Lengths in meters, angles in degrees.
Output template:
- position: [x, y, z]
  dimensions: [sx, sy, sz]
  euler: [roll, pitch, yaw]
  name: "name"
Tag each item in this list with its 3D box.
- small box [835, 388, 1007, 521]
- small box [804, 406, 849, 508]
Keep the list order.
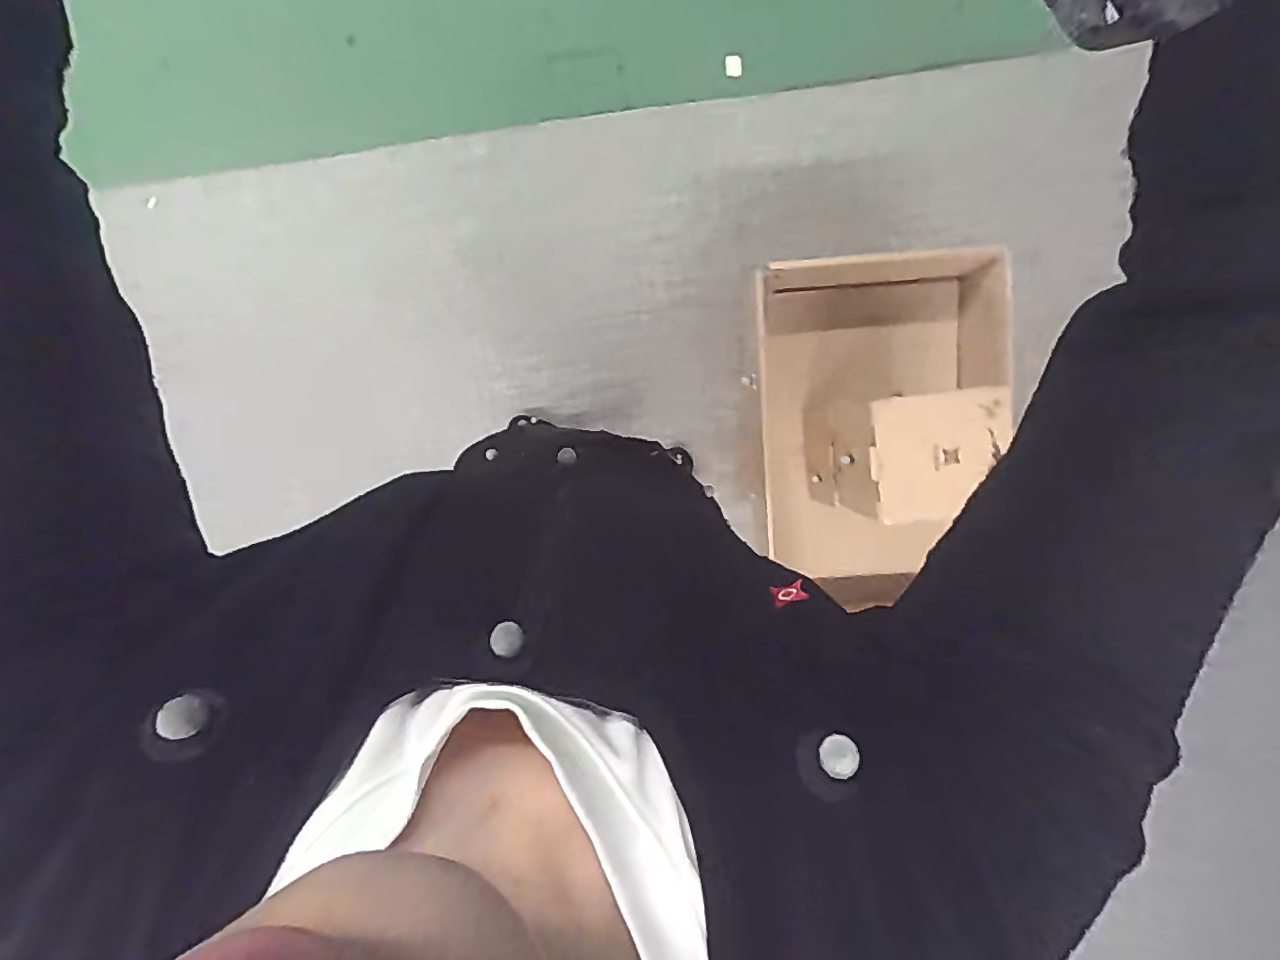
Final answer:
- position: [0.391, -0.039, 0.783]
  dimensions: [0.179, 0.176, 0.168]
  euler: [-5, 96, 3]
  name: "small box"
- position: [0.394, -0.049, 0.947]
  dimensions: [0.179, 0.176, 0.168]
  euler: [-6, 96, 1]
  name: "small box"
